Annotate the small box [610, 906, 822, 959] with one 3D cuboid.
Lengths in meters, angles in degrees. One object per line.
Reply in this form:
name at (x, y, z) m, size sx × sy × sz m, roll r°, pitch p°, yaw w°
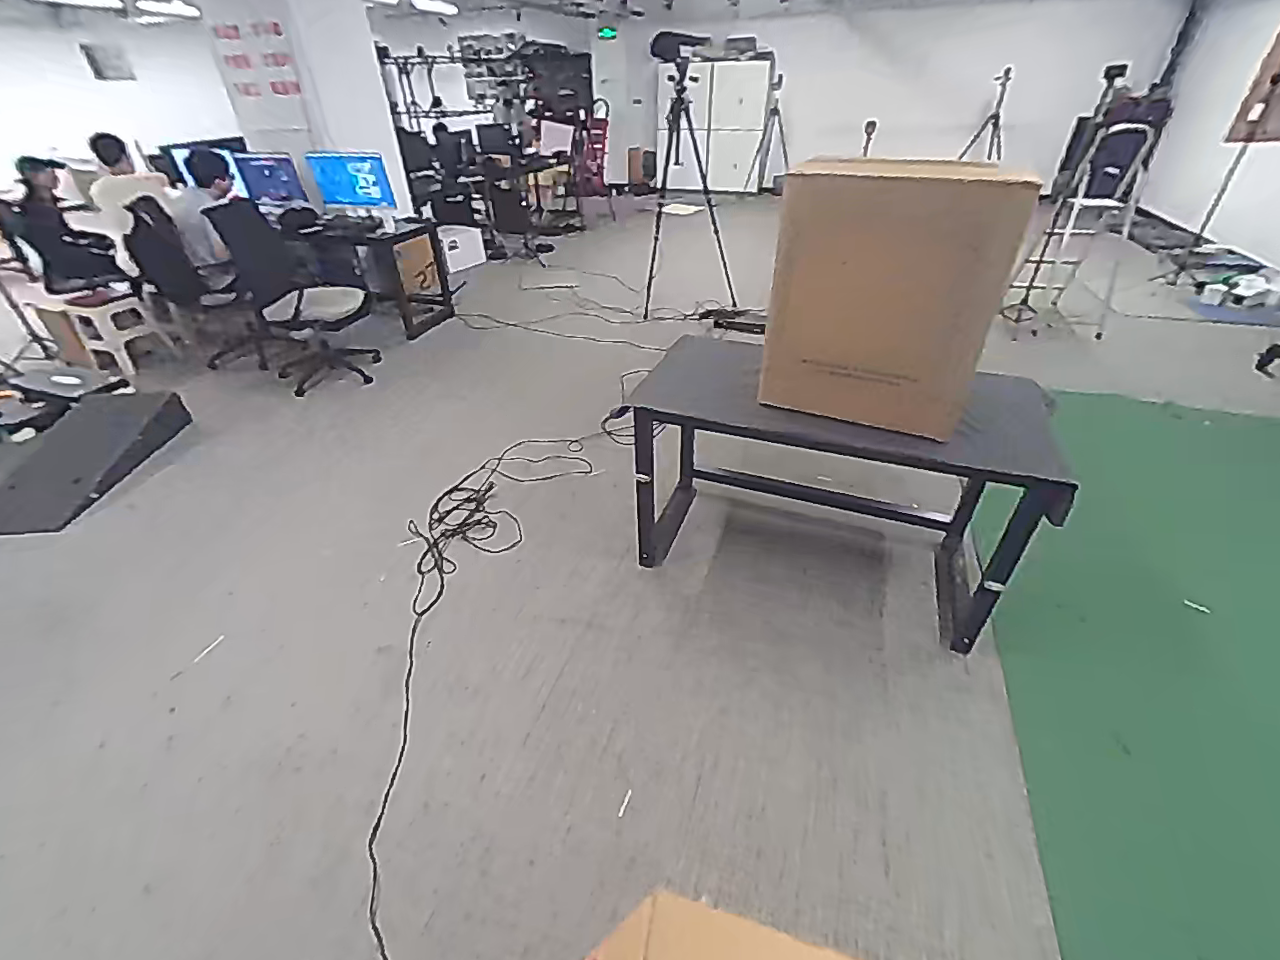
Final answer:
small box at (0.051, 0.359, 0.275) m, size 0.179 × 0.176 × 0.168 m, roll 18°, pitch 38°, yaw 0°
